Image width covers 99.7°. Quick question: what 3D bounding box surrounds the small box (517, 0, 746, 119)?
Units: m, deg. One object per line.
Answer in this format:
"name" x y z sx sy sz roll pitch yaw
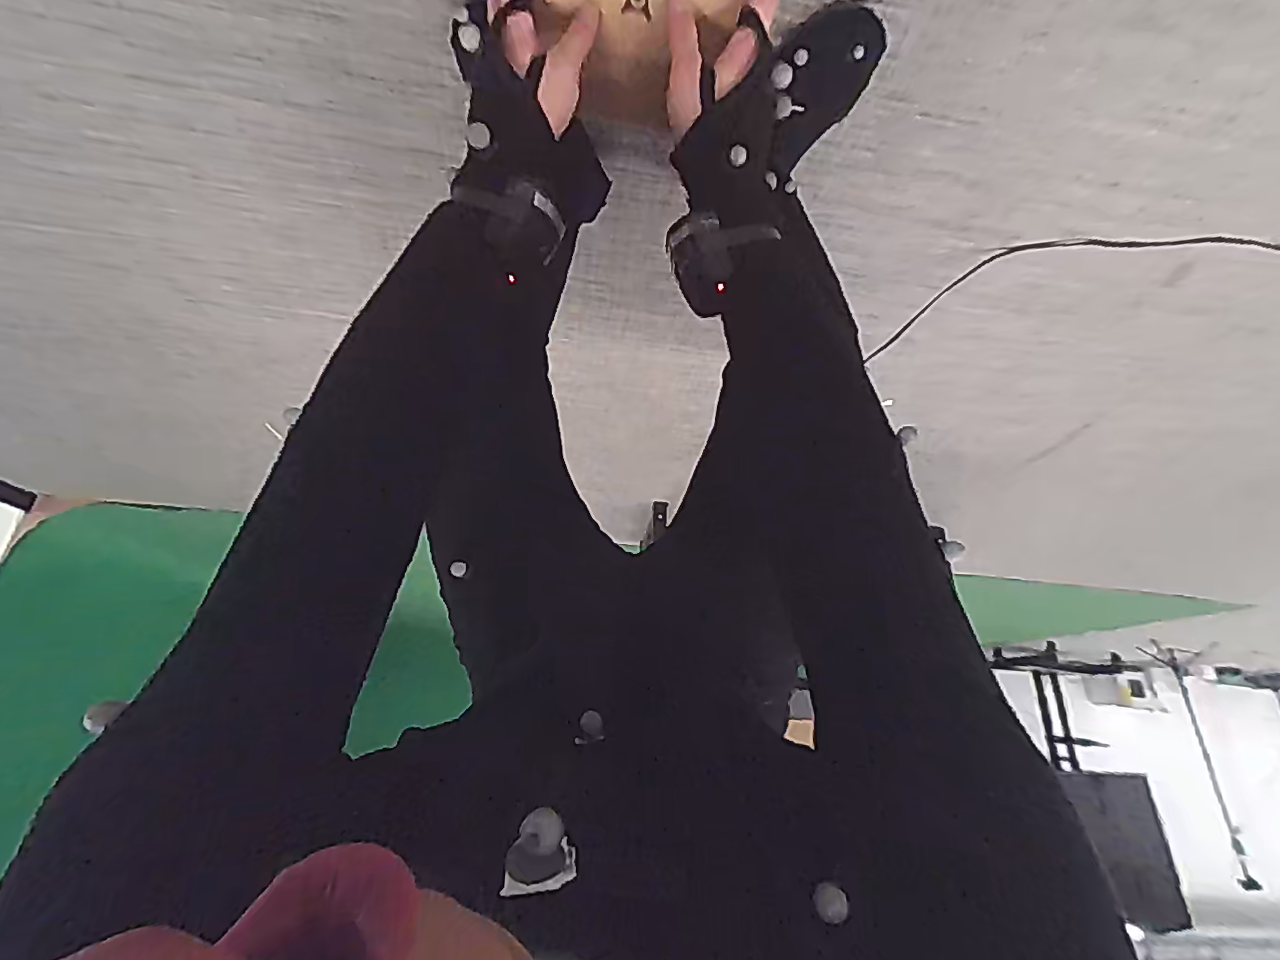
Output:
"small box" 0.001 -0.425 0.415 0.168 0.176 0.179 8 147 -6
